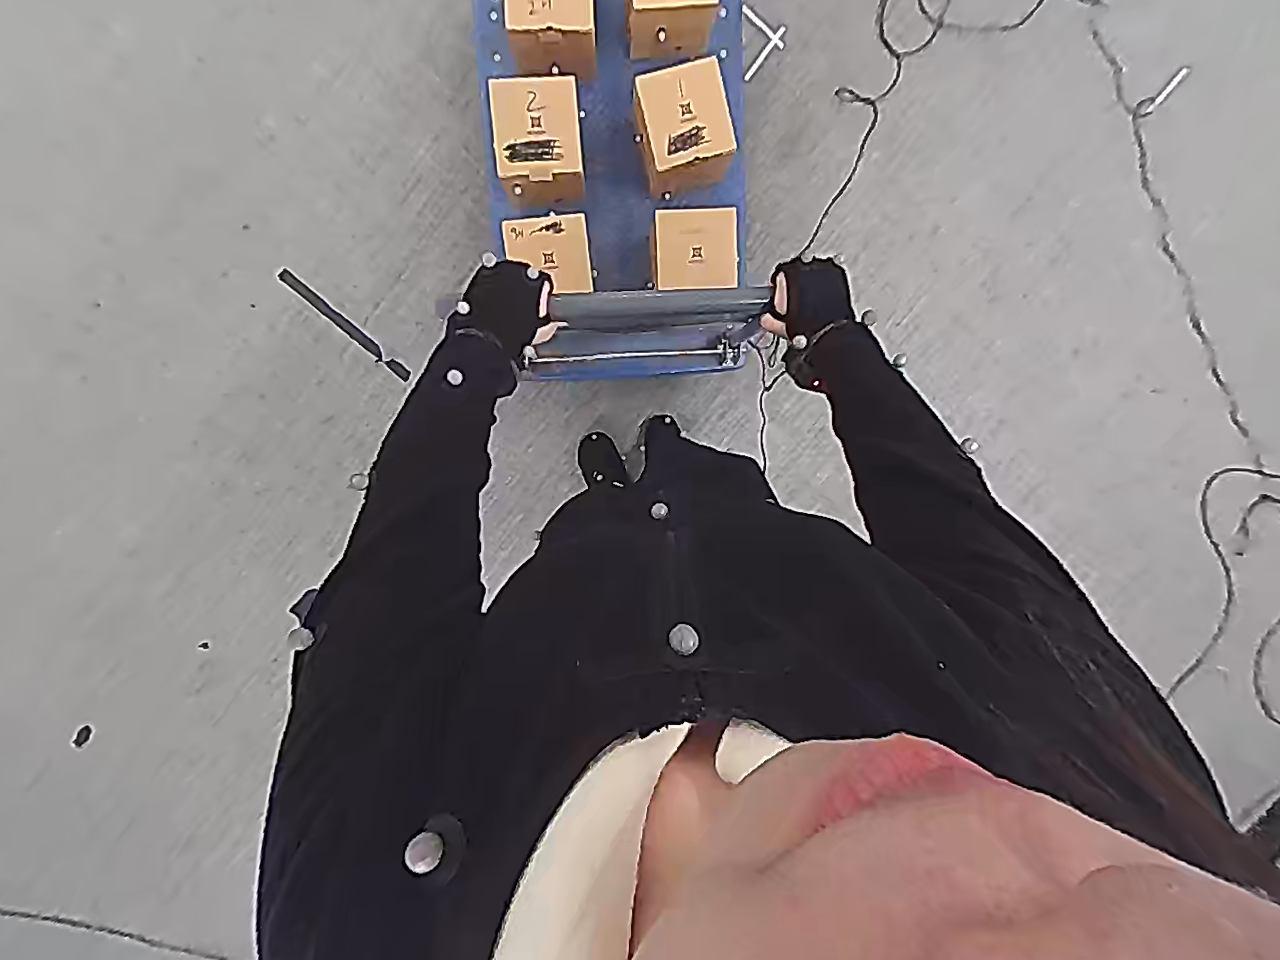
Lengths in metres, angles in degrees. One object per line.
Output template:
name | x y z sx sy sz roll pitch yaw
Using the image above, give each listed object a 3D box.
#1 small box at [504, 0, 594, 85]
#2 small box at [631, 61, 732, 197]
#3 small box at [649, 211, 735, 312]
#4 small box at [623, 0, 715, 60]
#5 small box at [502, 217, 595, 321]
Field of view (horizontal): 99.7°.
small box | -0.178 -0.934 1.081 0.168 0.176 0.179 -2 100 -3
small box | 0.082 -0.718 1.132 0.168 0.176 0.179 -15 98 -1
small box | 0.108 -0.465 1.175 0.168 0.176 0.179 -3 98 -4
small box | 0.051 -0.985 1.090 0.168 0.176 0.179 -6 99 -2
small box | -0.188 -0.441 1.159 0.168 0.176 0.179 -7 100 -3
